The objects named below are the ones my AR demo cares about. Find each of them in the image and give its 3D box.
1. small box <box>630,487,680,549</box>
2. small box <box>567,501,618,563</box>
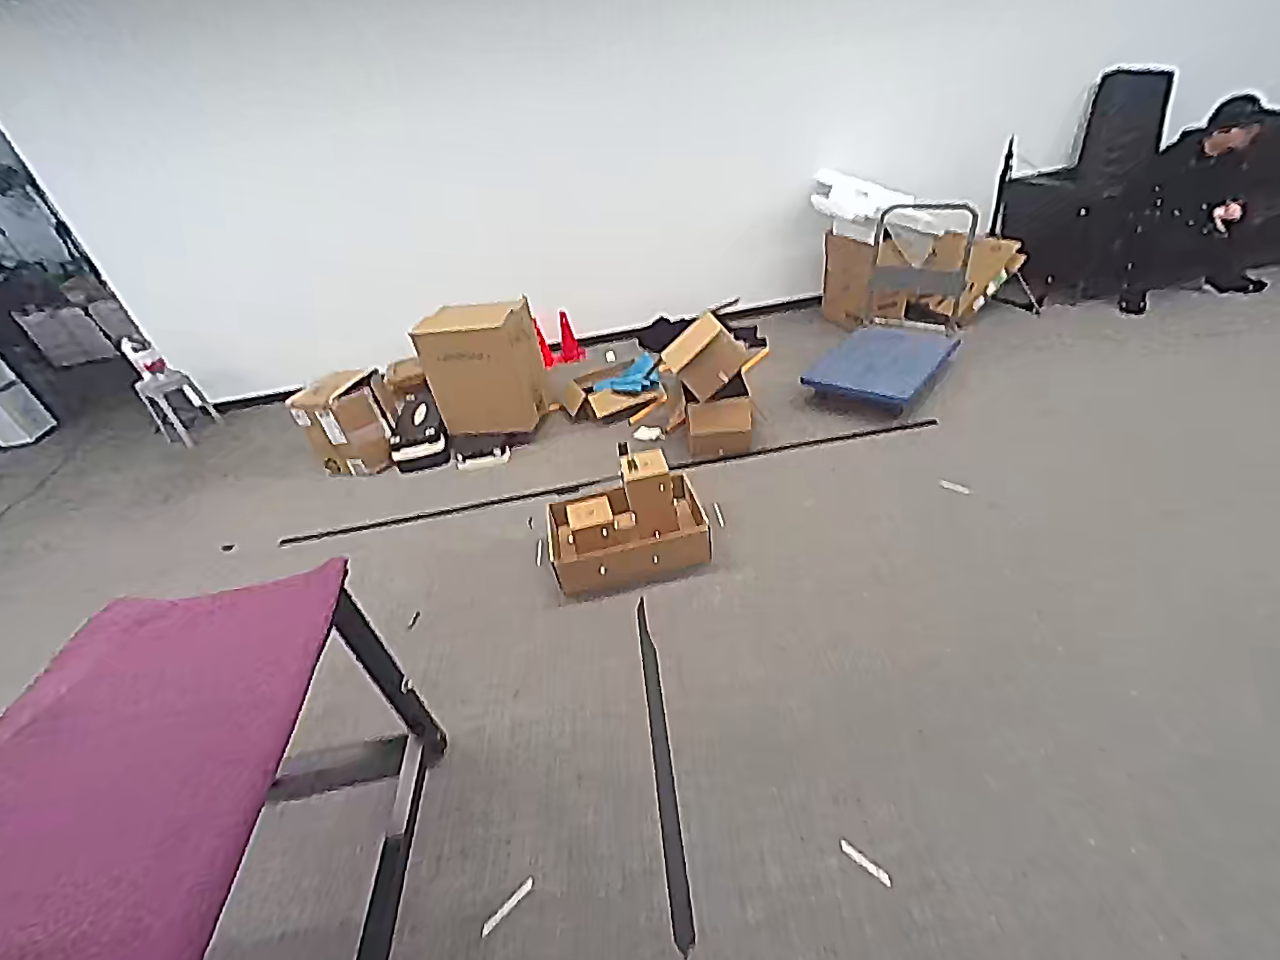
[{"bbox_3d":[0.060,0.158,2.236,0.168,0.176,0.179,-14,35,-4],"label":"small box"},{"bbox_3d":[-0.193,0.214,2.214,0.179,0.176,0.168,-13,33,-7],"label":"small box"}]
